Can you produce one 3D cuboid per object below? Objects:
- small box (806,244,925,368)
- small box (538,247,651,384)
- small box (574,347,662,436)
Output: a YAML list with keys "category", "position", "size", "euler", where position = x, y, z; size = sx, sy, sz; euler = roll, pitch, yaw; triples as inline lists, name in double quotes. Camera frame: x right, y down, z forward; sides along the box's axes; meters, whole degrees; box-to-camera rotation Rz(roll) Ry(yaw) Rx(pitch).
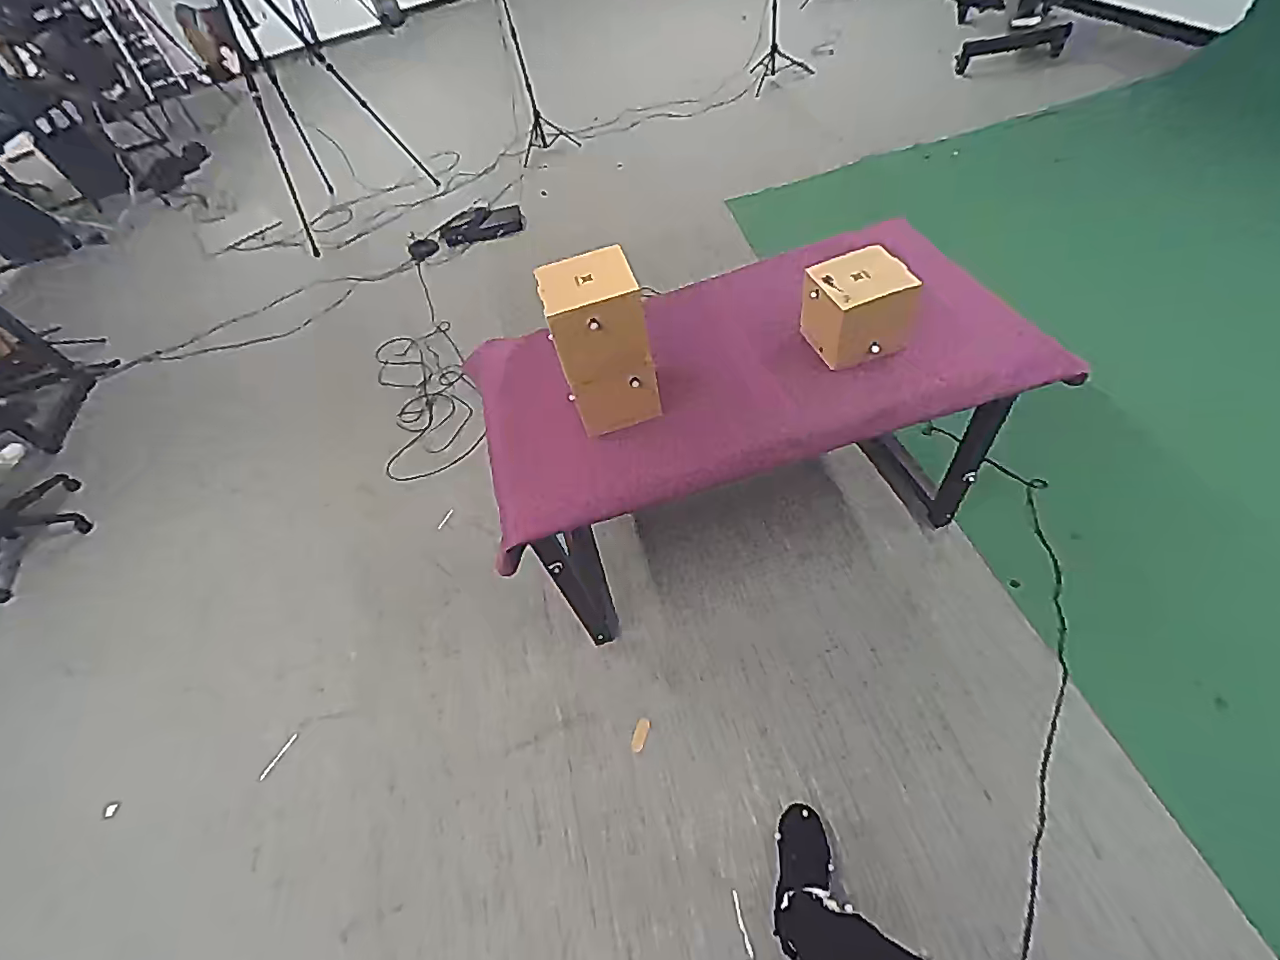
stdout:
- category: "small box"
  position: [0.479, -0.376, 1.181]
  size: [0.179, 0.176, 0.168]
  euler: [-19, 52, -1]
- category: "small box"
  position: [-0.083, -0.319, 1.064]
  size: [0.179, 0.176, 0.168]
  euler: [-18, 53, 0]
- category: "small box"
  position: [-0.054, -0.226, 1.194]
  size: [0.179, 0.176, 0.168]
  euler: [-18, 52, 0]
